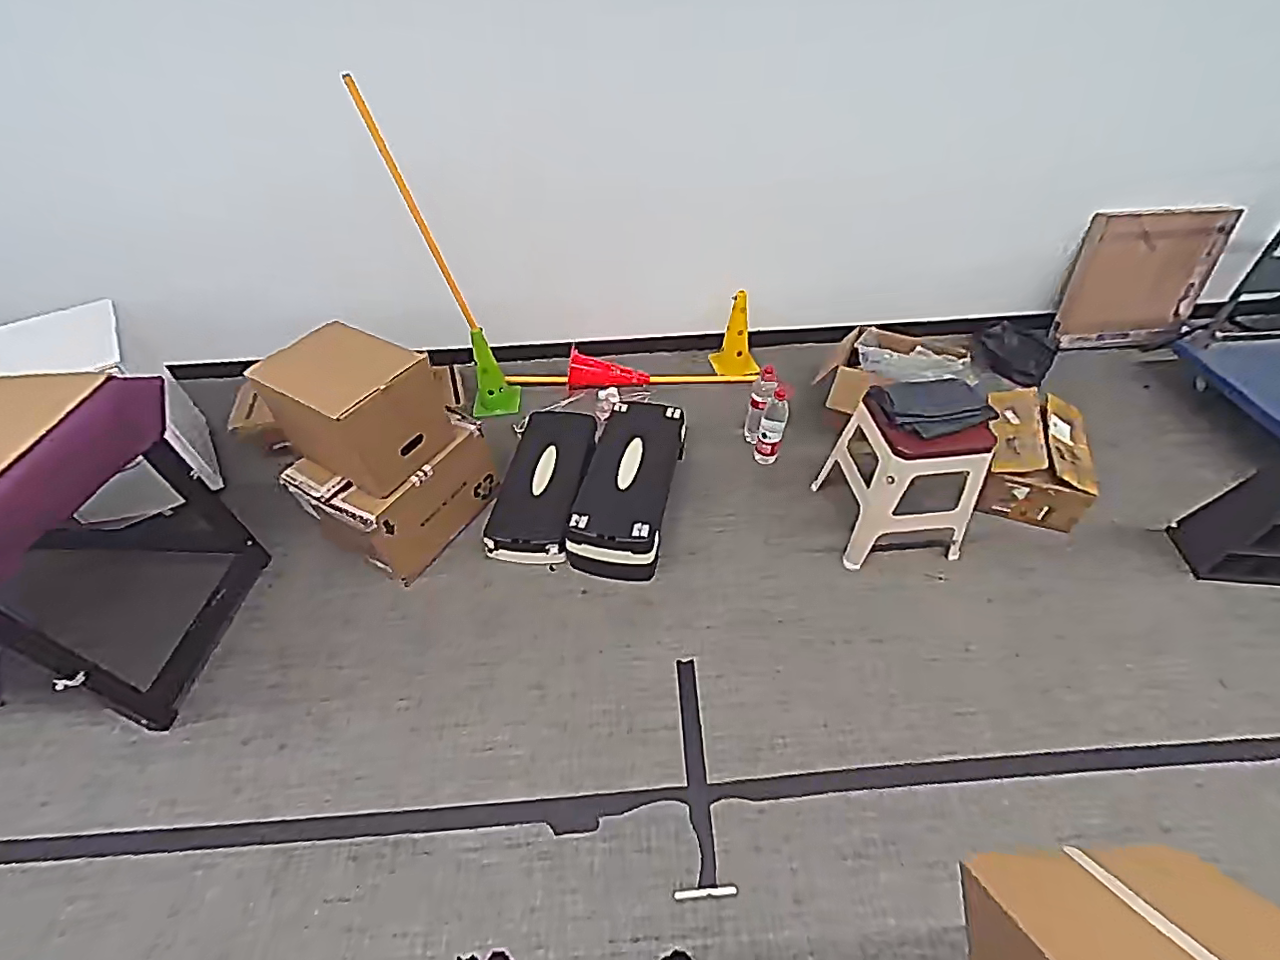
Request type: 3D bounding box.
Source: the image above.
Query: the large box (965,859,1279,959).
[{"bbox_3d":[0.619,0.687,0.573,0.320,0.408,0.320,-4,86,2],"label":"large box"}]
